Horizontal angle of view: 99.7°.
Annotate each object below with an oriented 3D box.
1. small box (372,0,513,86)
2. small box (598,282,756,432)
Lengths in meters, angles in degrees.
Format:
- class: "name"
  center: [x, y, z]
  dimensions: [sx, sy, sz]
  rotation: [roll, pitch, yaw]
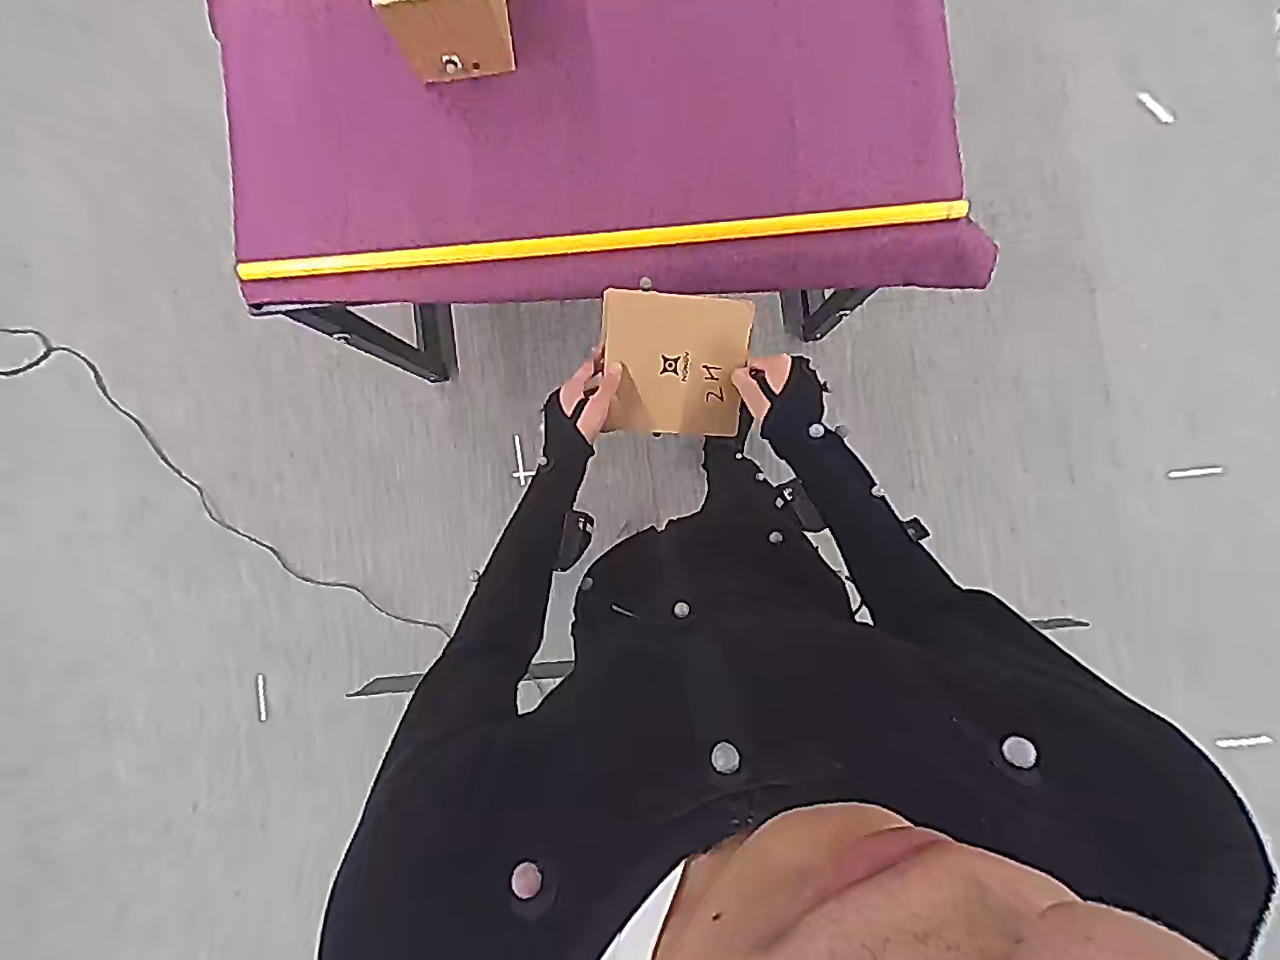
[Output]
- class: "small box"
  center: [-0.305, -0.760, 0.834]
  dimensions: [0.168, 0.176, 0.179]
  rotation: [-8, 90, 2]
- class: "small box"
  center: [0.036, -0.167, 0.722]
  dimensions: [0.179, 0.176, 0.168]
  rotation: [3, 108, -7]
